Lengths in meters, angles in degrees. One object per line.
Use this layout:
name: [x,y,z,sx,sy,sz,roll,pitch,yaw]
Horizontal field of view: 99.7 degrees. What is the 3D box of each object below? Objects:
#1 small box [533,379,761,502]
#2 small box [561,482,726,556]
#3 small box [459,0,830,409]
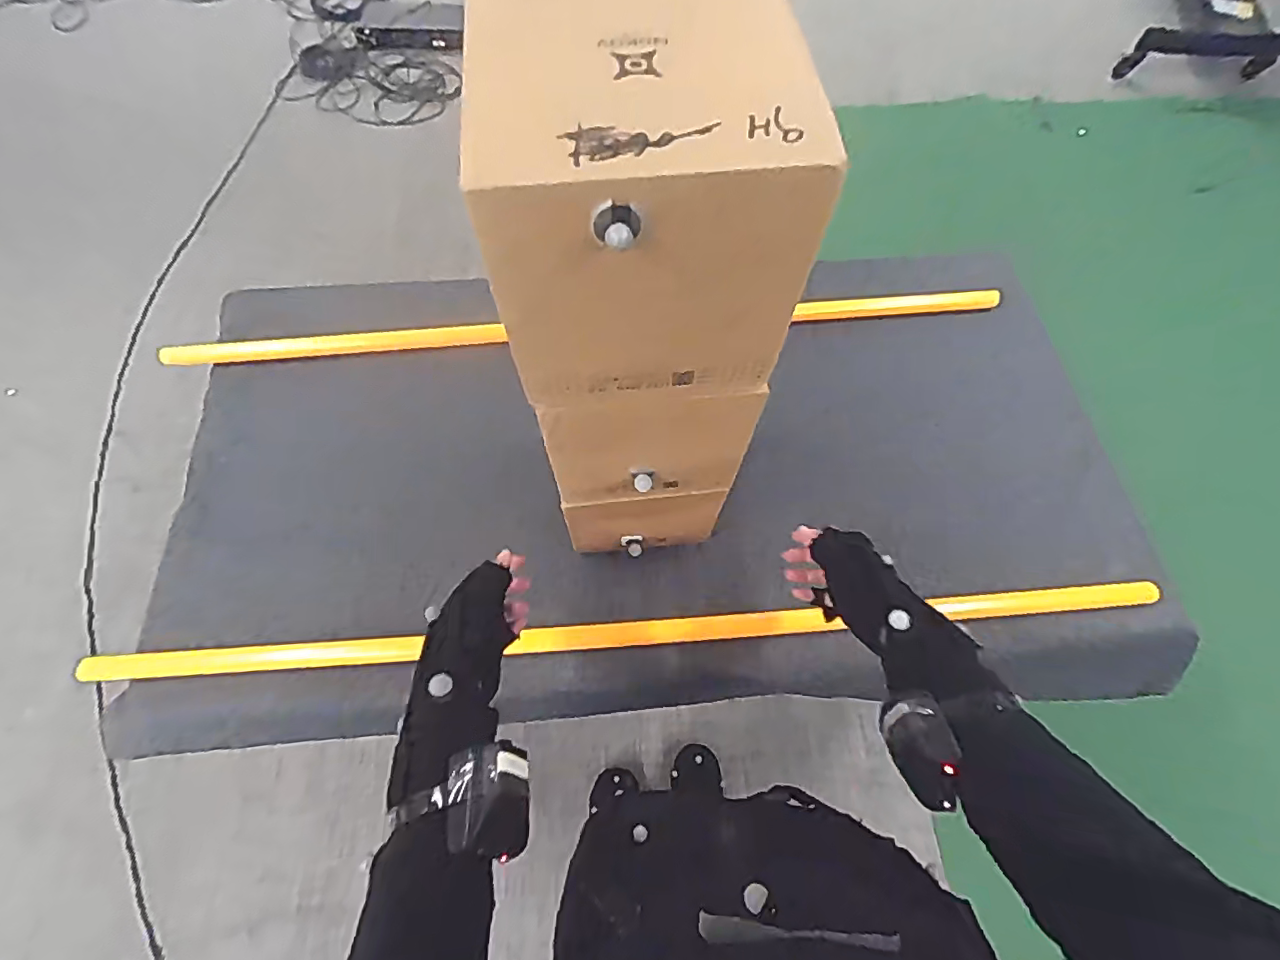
small box: [-0.003,-0.096,0.490,0.168,0.176,0.179,-5,66,-2]
small box: [-0.006,-0.024,0.638,0.168,0.176,0.179,-7,66,-3]
small box: [-0.005,-0.167,0.343,0.168,0.176,0.179,-6,64,-2]
